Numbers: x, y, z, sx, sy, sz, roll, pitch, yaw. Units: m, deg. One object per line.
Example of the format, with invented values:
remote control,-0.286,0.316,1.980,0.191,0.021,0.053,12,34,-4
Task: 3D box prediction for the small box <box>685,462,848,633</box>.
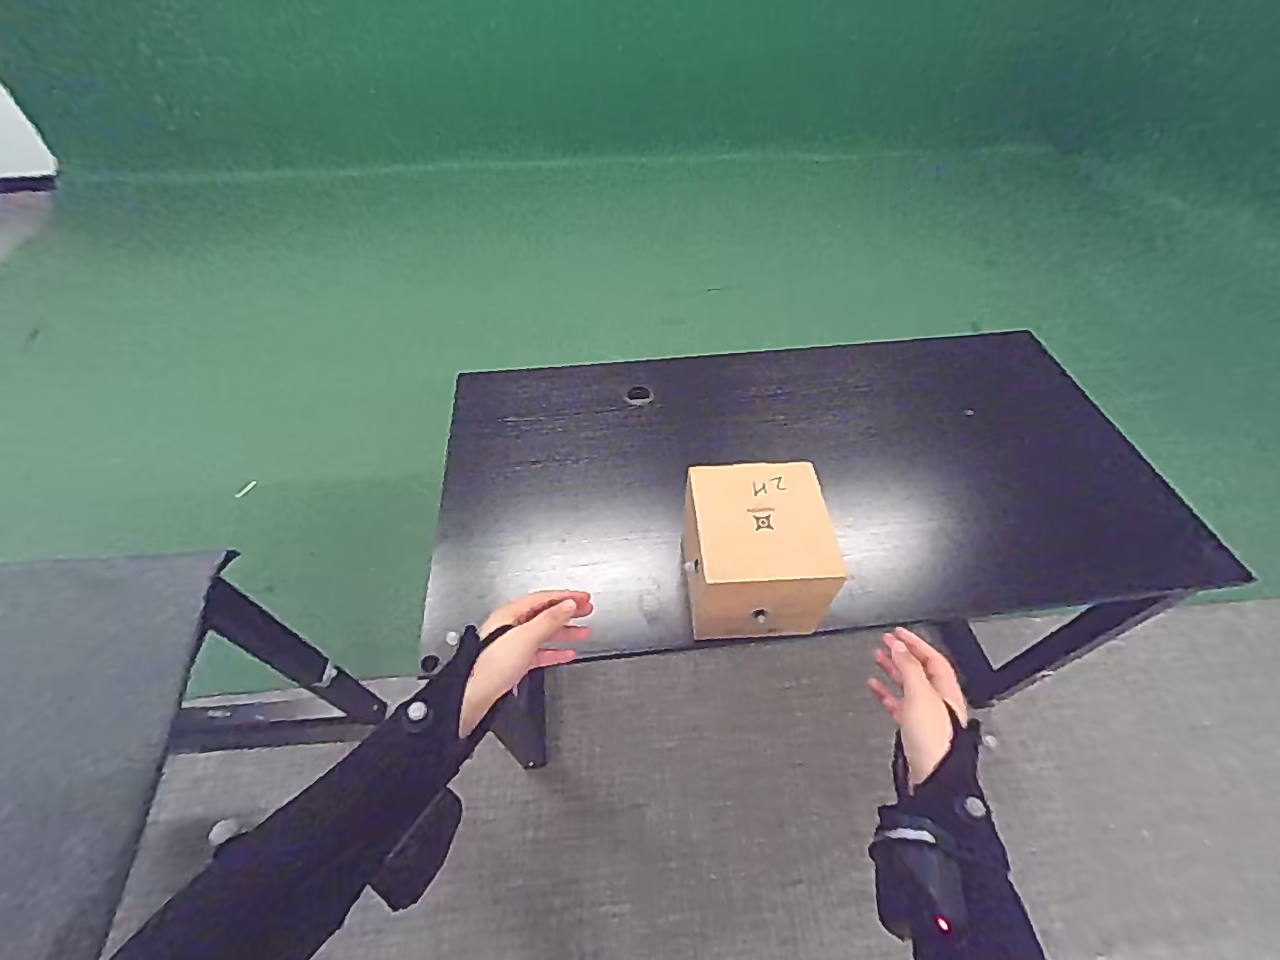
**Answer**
small box,0.154,0.097,0.726,0.168,0.176,0.179,-2,52,-2
